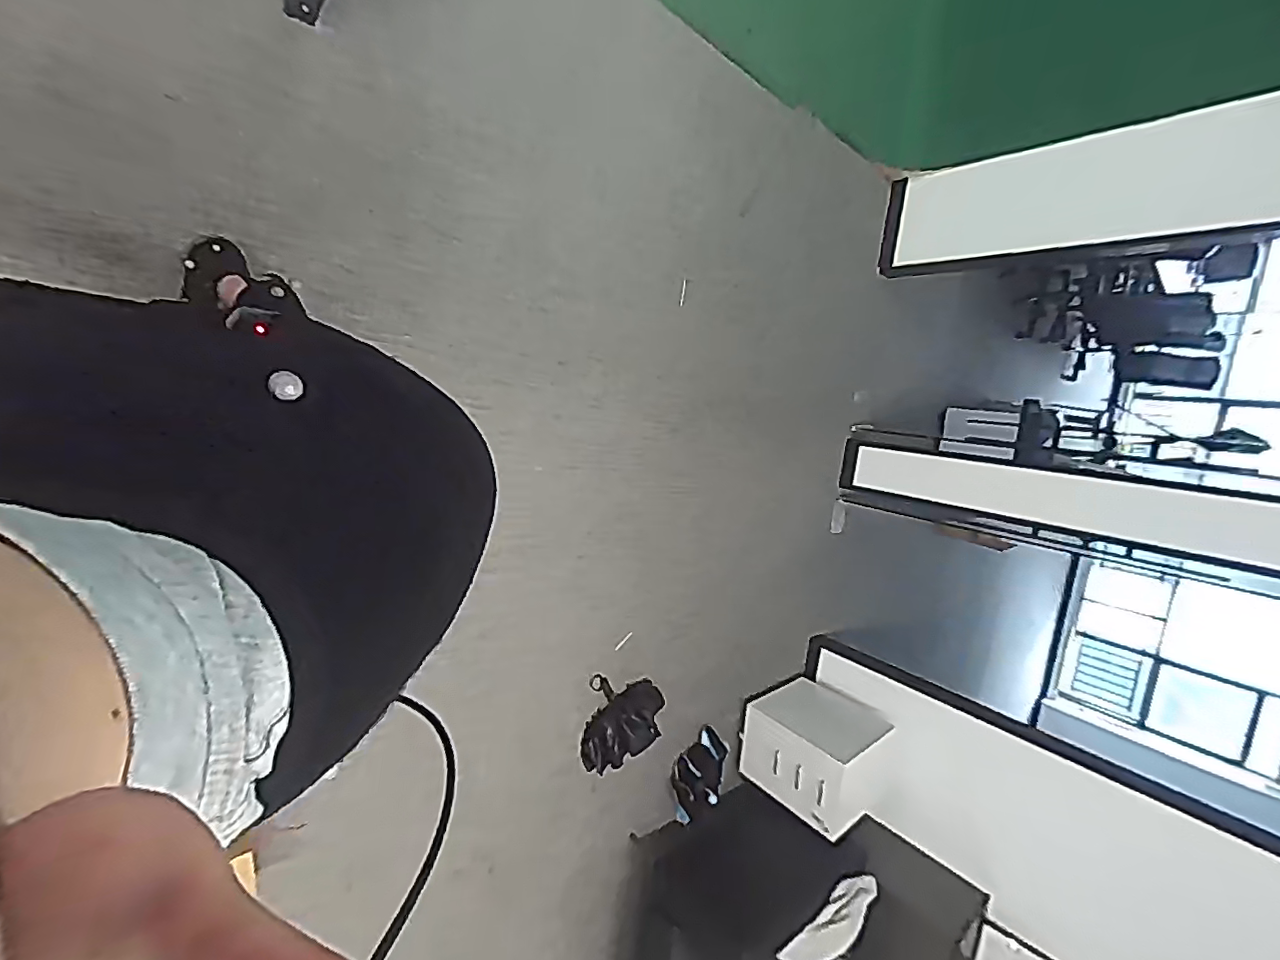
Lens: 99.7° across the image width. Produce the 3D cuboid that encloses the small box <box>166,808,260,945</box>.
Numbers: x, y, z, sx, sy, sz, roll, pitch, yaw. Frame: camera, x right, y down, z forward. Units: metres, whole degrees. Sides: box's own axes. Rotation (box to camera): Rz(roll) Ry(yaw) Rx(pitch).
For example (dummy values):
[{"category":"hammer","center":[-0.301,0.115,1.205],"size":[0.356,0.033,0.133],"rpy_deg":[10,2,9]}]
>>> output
[{"category":"small box","center":[-1.056,0.967,1.338],"size":[0.168,0.176,0.179],"rpy_deg":[-7,105,-41]}]
